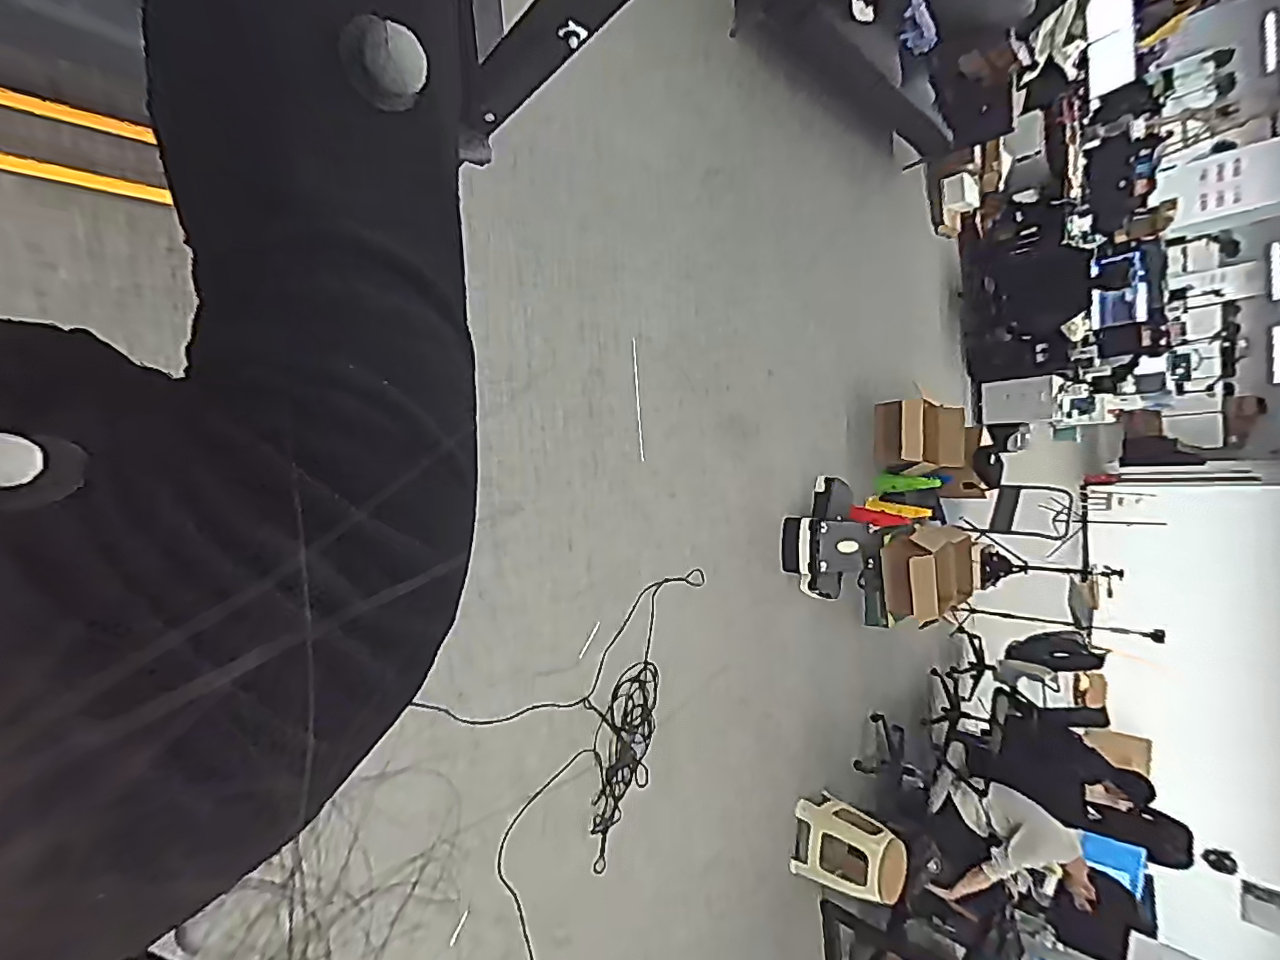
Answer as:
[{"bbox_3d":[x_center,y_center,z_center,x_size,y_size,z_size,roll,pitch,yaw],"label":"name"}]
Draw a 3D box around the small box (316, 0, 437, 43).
[{"bbox_3d":[-0.343,-0.707,0.673,0.168,0.176,0.179,-9,95,-44],"label":"small box"}]
